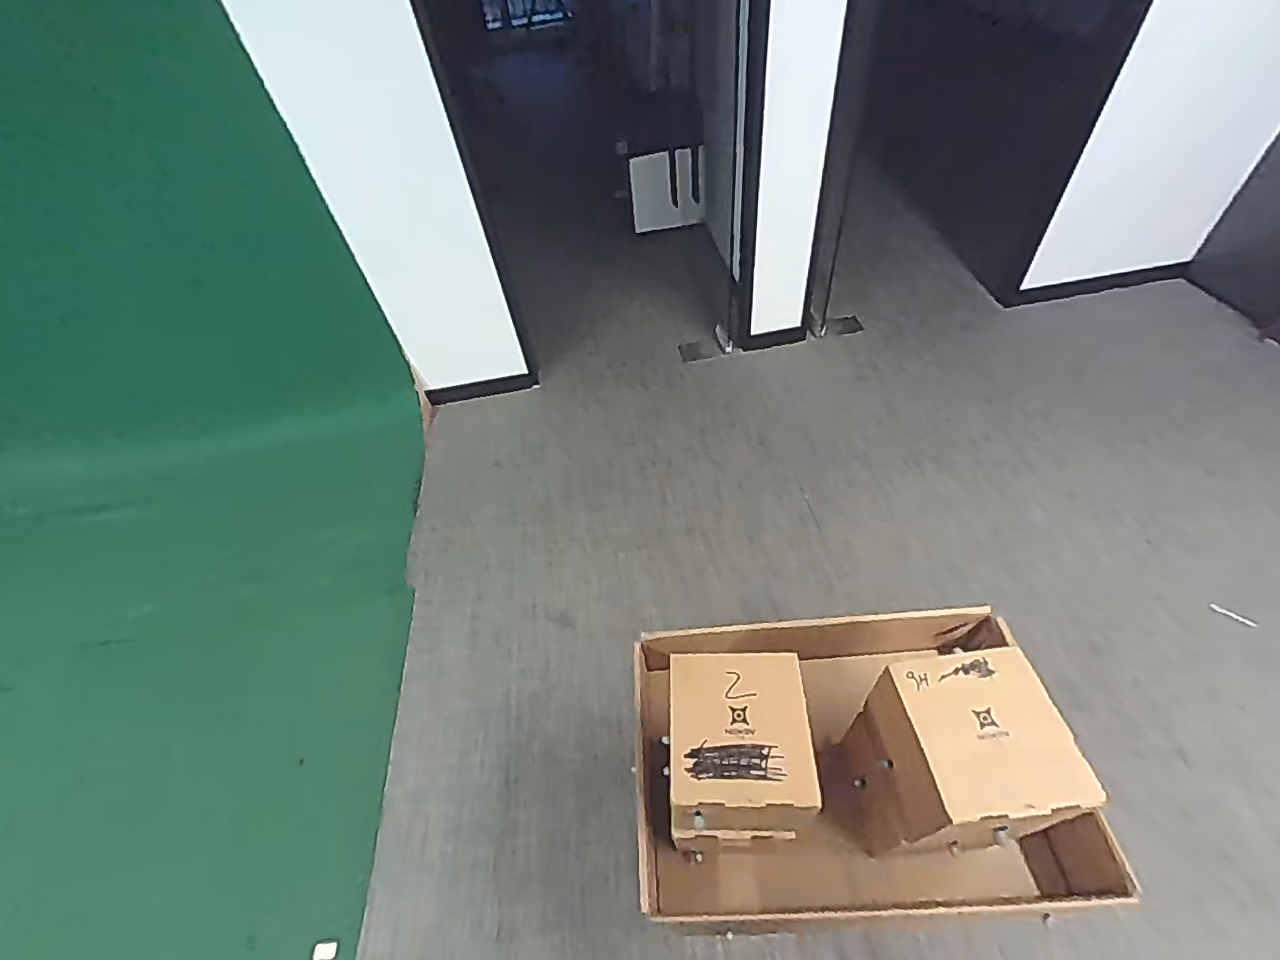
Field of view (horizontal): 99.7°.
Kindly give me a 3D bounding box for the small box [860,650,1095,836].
[{"bbox_3d":[0.400,0.337,0.682,0.168,0.176,0.179,-7,50,1],"label":"small box"}]
